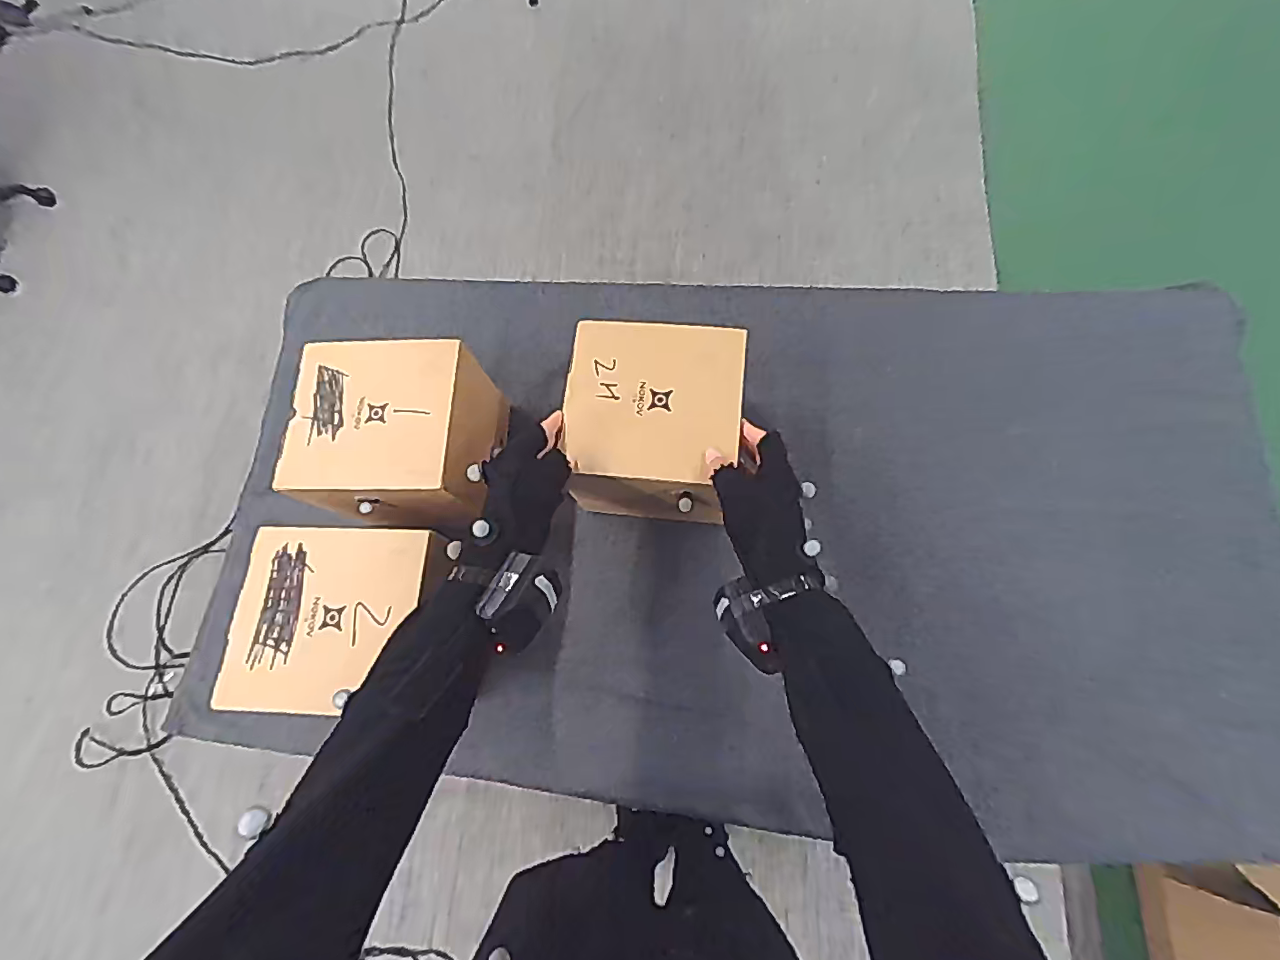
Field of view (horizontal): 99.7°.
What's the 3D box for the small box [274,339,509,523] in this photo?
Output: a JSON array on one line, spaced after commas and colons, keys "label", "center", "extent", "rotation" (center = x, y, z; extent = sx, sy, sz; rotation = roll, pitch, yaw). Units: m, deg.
[{"label": "small box", "center": [-0.270, -0.046, 0.628], "extent": [0.179, 0.176, 0.168], "rotation": [0, 74, 5]}]
